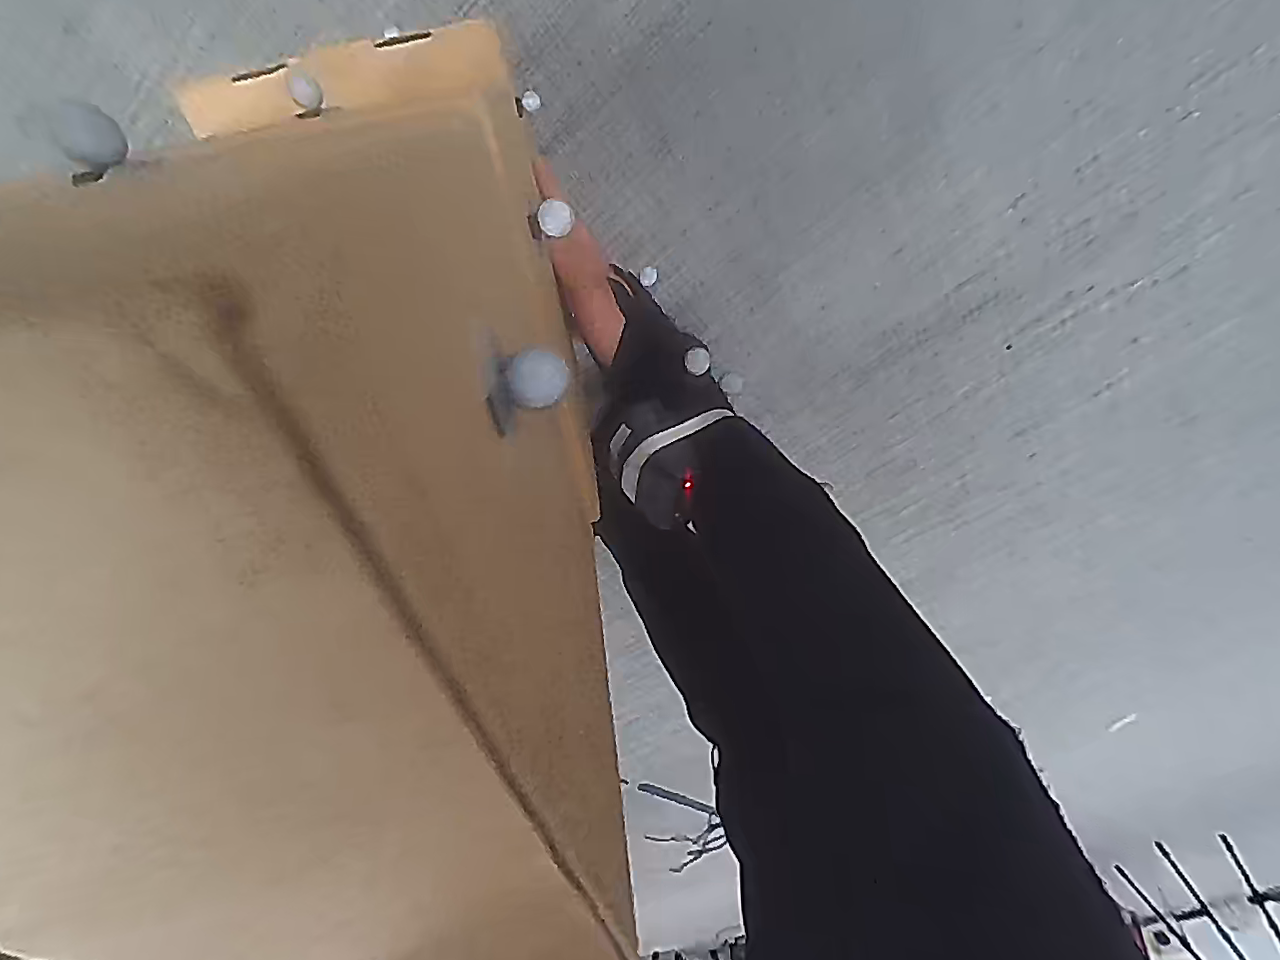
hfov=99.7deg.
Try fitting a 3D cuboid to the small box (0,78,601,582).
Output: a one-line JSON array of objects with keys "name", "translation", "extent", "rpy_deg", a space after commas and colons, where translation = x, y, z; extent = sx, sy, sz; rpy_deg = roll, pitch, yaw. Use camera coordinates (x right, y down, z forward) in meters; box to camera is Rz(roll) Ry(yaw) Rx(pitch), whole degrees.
[{"name": "small box", "translation": [-0.121, -0.082, 0.272], "extent": [0.168, 0.176, 0.179], "rpy_deg": [-11, 128, -1]}]

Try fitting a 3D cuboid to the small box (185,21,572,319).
[{"name": "small box", "translation": [-0.149, -0.198, 0.387], "extent": [0.168, 0.176, 0.179], "rpy_deg": [-14, 128, -1]}]
